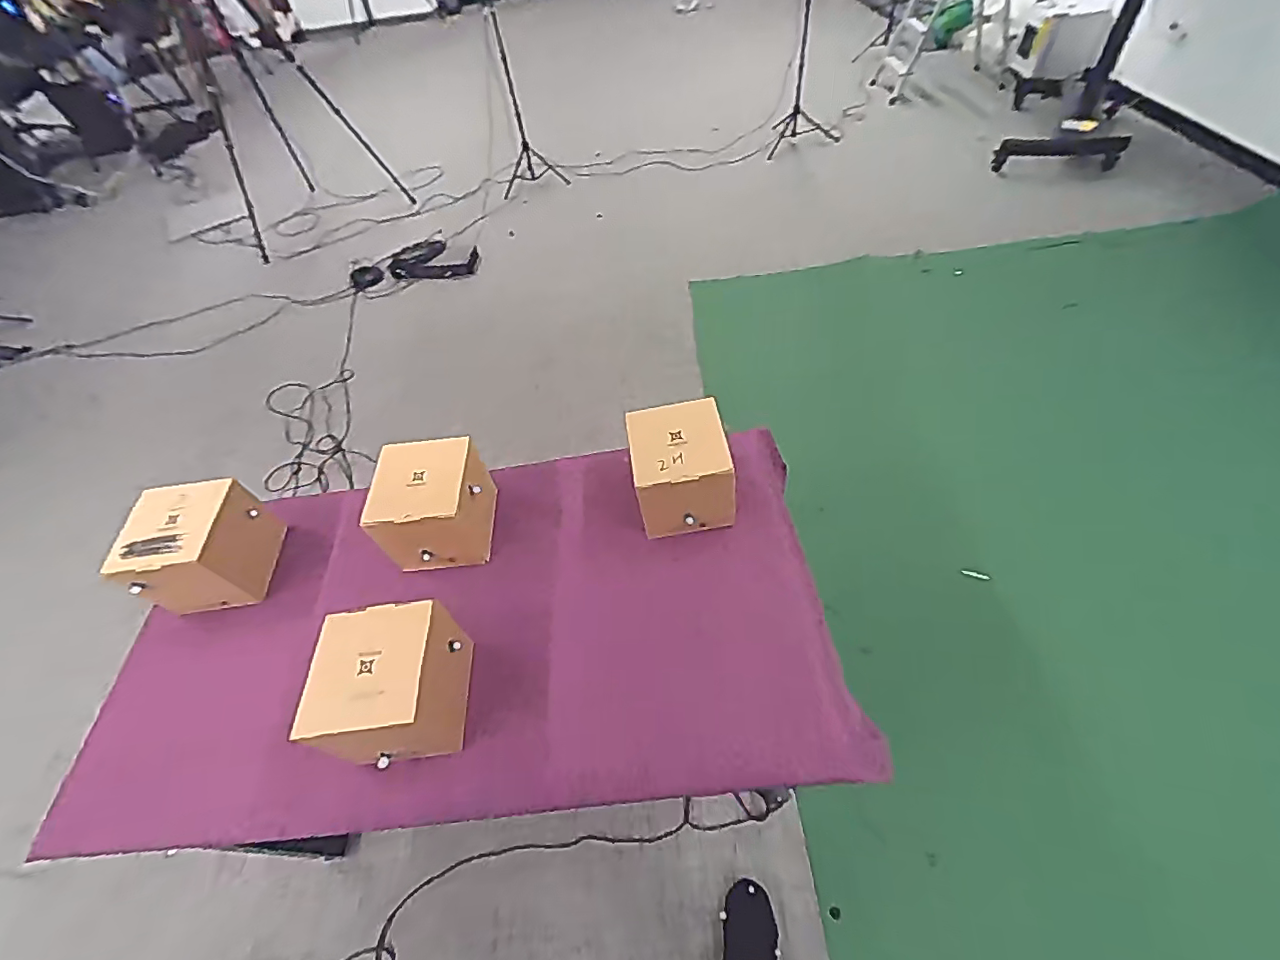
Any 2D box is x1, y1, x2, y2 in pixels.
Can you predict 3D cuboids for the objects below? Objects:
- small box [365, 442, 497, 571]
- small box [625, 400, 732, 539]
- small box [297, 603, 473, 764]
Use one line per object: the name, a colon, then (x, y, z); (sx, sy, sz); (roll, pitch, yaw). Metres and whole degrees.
small box: (-0.379, 0.053, 1.018); (0.168, 0.176, 0.179); (-6, 54, 4)
small box: (0.071, -0.016, 0.994); (0.168, 0.176, 0.179); (-11, 53, 4)
small box: (-0.366, 0.311, 0.818); (0.168, 0.176, 0.179); (-9, 51, 4)
